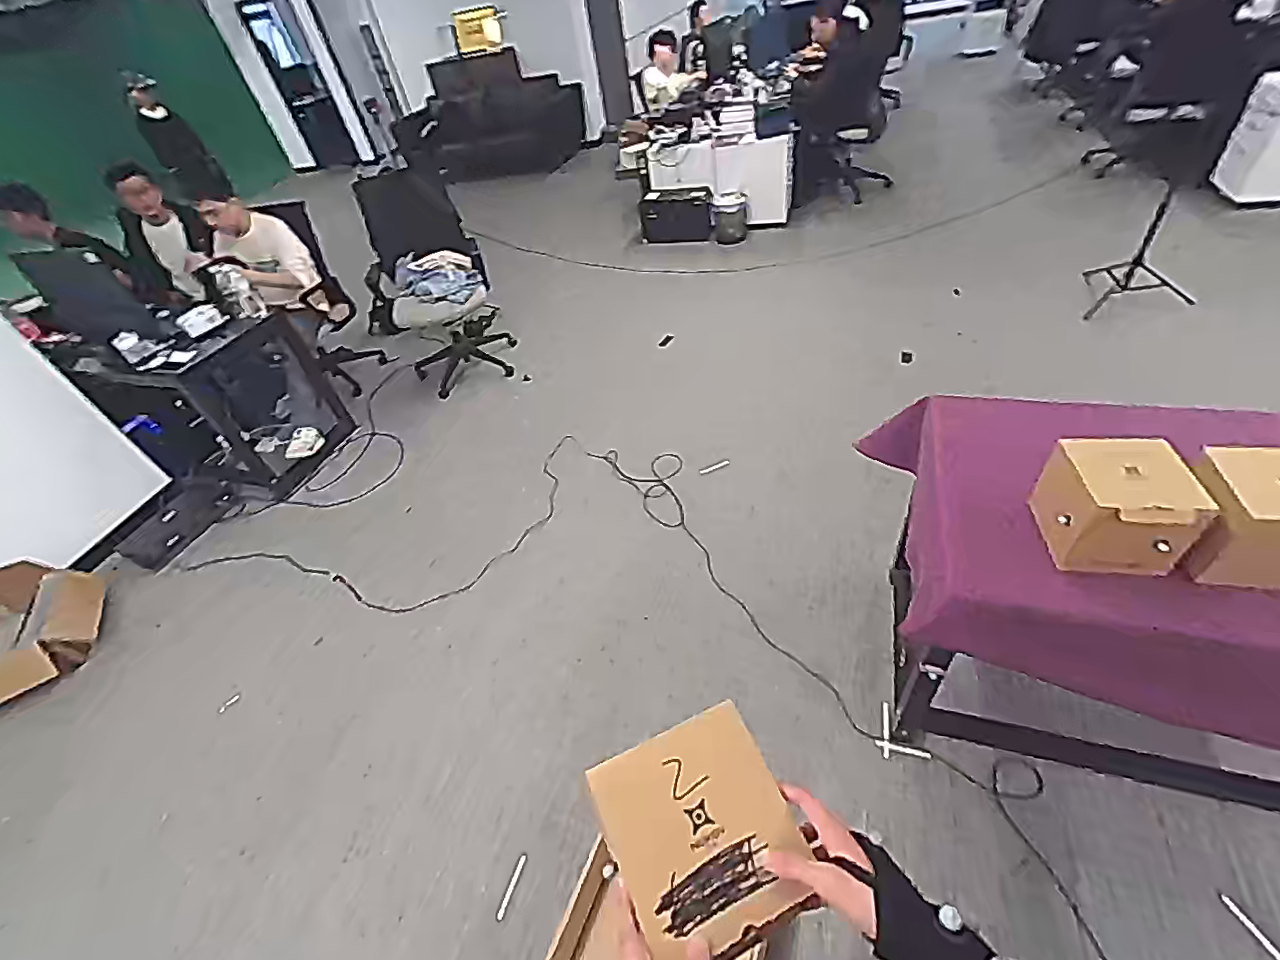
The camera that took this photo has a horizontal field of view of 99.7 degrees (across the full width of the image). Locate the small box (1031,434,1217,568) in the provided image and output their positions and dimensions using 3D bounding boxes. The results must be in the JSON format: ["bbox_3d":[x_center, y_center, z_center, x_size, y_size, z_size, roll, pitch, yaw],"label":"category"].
[{"bbox_3d":[0.833,0.038,0.956,0.168,0.176,0.179,1,45,13],"label":"small box"}]
